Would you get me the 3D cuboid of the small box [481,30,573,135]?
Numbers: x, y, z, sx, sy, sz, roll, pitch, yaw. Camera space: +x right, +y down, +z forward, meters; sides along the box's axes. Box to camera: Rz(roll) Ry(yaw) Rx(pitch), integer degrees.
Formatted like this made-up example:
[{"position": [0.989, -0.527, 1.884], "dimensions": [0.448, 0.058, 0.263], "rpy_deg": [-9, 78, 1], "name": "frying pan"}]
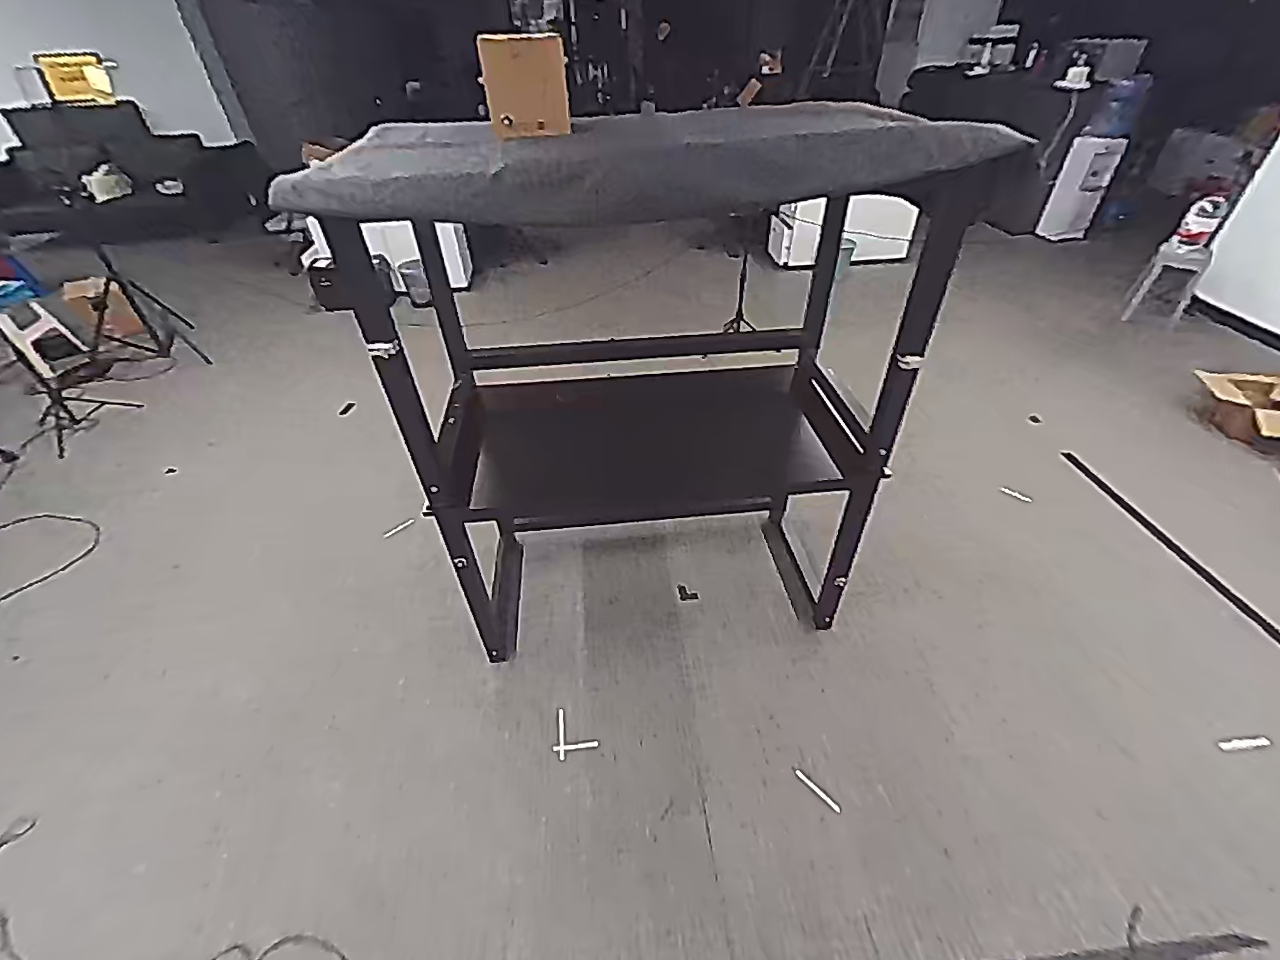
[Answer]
[{"position": [-0.237, -0.847, 1.158], "dimensions": [0.168, 0.176, 0.179], "rpy_deg": [-7, 41, -6], "name": "small box"}]
